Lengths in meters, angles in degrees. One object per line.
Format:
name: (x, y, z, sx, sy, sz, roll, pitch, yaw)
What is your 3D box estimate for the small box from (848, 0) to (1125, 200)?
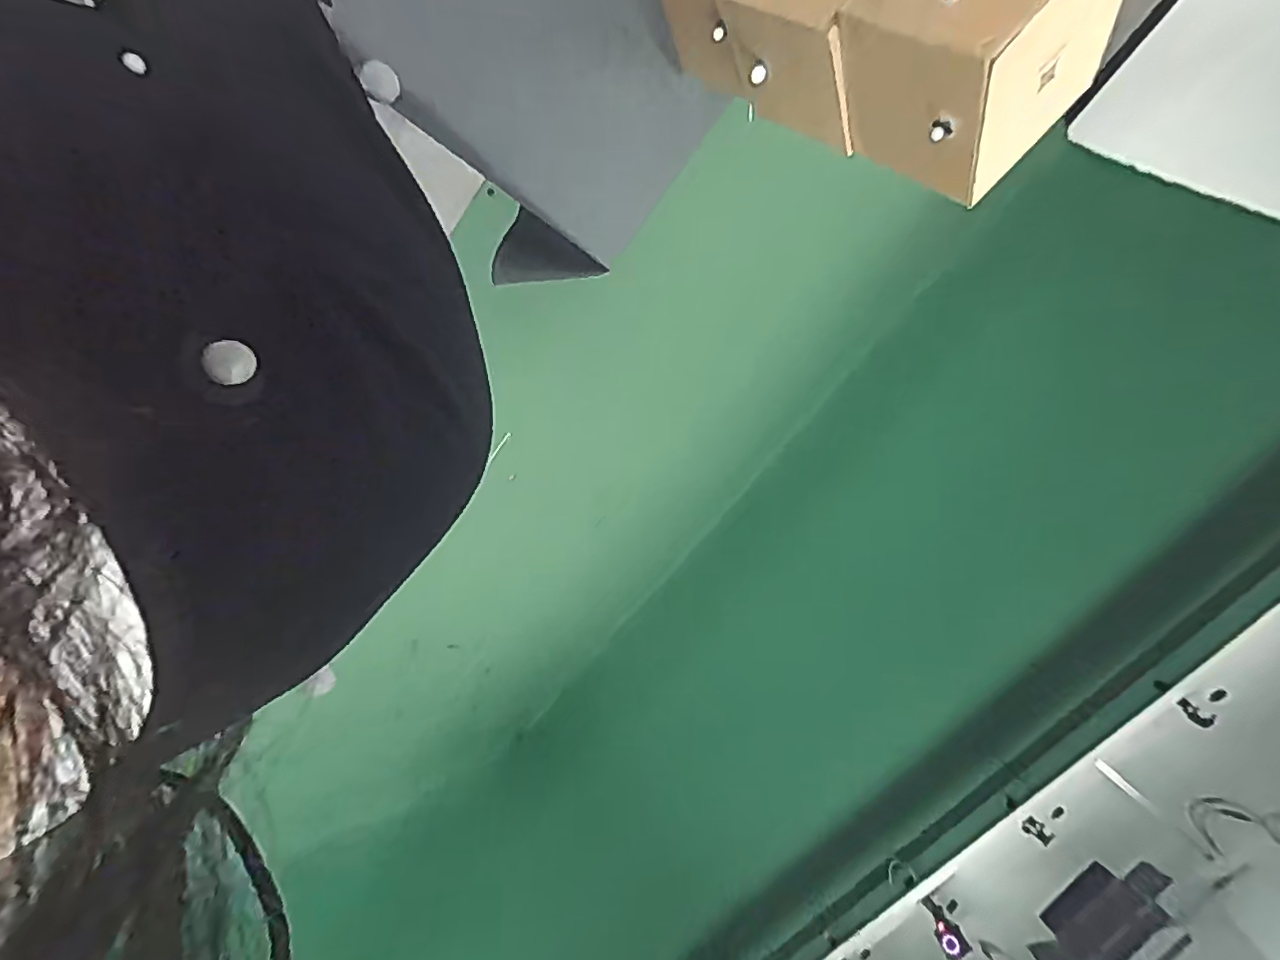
small box: (0.325, -0.425, 0.527, 0.168, 0.176, 0.179, -46, 152, 7)

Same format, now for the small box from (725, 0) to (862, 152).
small box: (0.227, -0.527, 0.607, 0.179, 0.176, 0.168, -47, 151, 10)

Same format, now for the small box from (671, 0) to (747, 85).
small box: (0.144, -0.645, 0.687, 0.168, 0.176, 0.179, -45, 153, 4)
